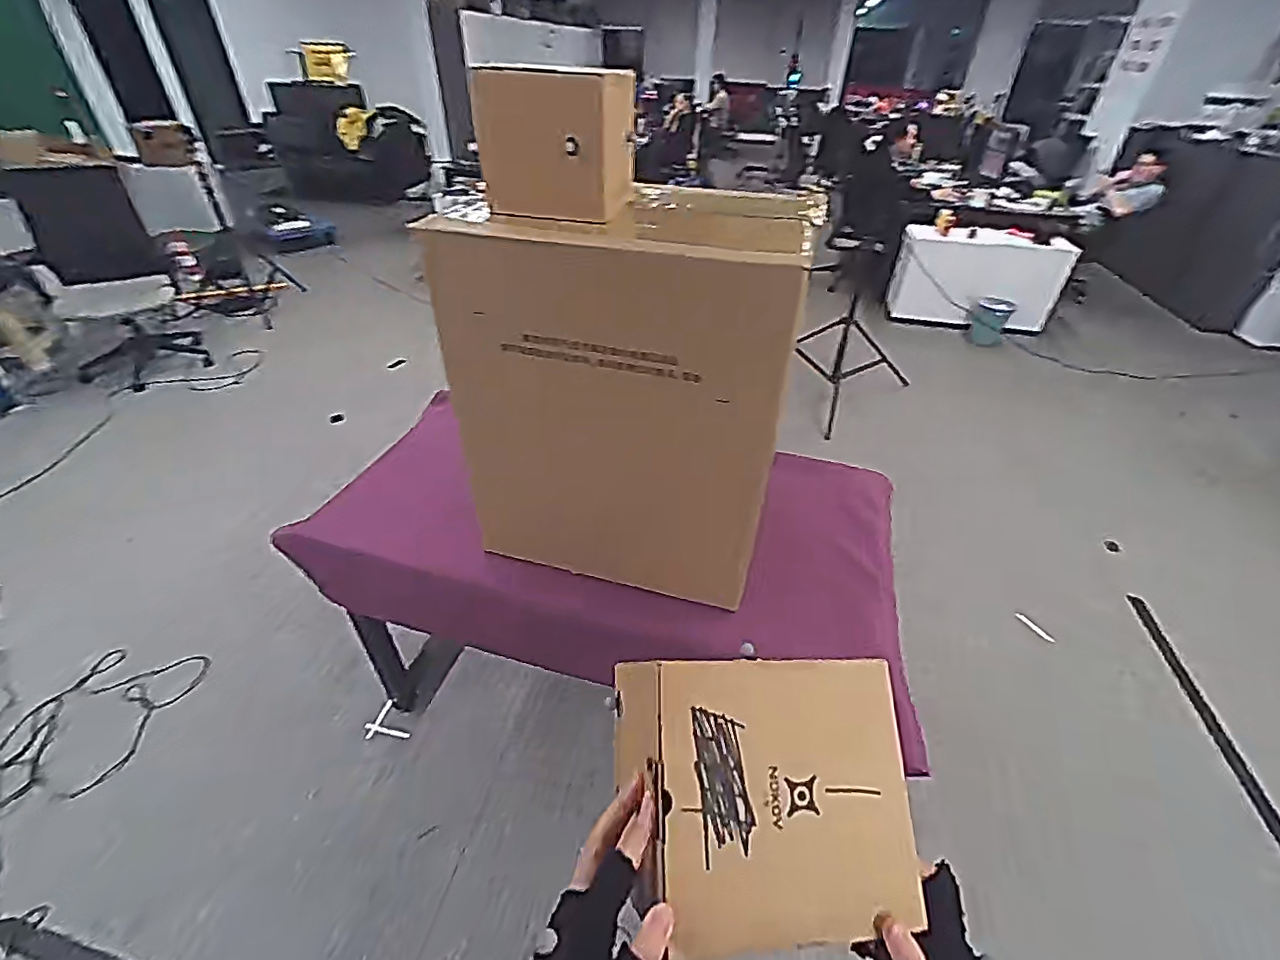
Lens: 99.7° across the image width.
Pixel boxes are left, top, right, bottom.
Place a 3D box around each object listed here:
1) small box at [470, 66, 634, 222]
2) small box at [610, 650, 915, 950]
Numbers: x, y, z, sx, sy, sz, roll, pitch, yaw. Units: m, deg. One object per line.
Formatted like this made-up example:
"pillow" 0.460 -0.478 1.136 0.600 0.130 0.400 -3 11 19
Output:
"small box" -0.111 -0.472 0.762 0.179 0.176 0.168 8 38 9
"small box" 0.072 0.223 0.425 0.179 0.176 0.168 3 71 -13
